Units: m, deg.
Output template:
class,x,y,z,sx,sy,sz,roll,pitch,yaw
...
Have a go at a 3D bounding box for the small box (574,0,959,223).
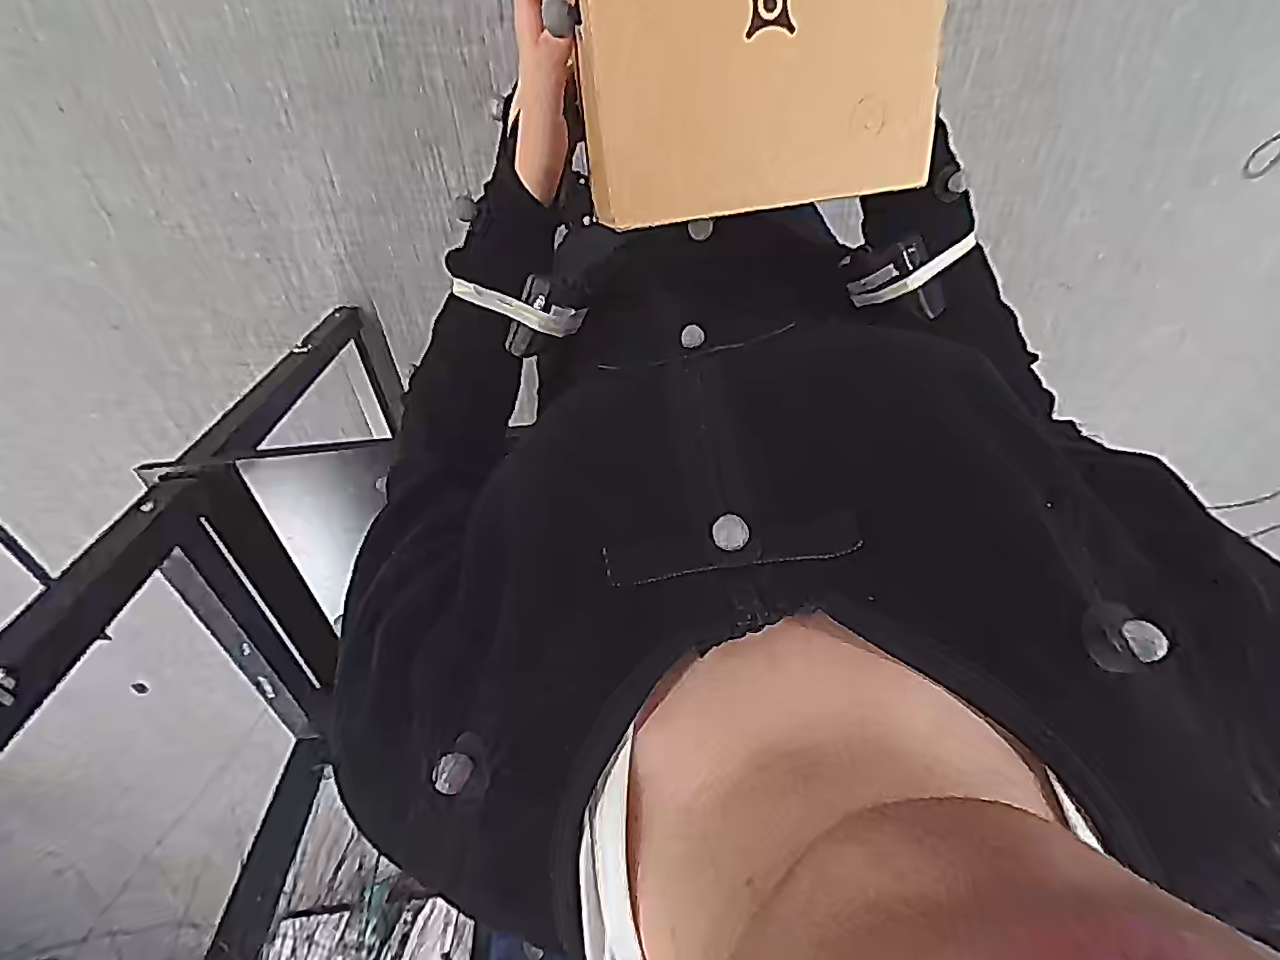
class,x,y,z,sx,sy,sz,roll,pitch,yaw
small box,0.052,-0.252,0.303,0.168,0.176,0.179,-10,116,-3
